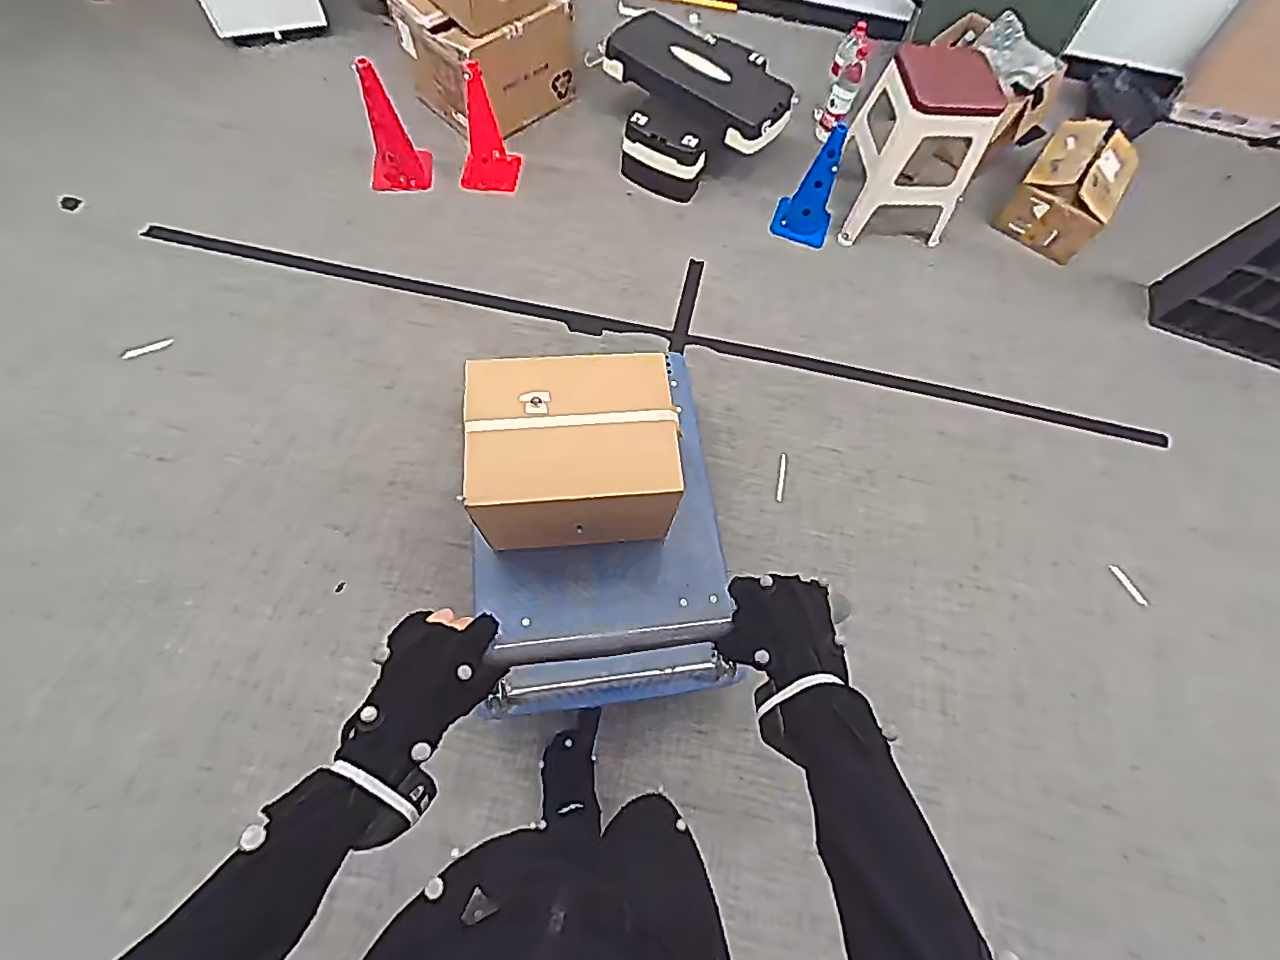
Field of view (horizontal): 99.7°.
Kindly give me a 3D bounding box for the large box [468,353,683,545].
[{"bbox_3d":[-0.138,-0.054,1.190,0.408,0.320,0.320,-4,68,-5],"label":"large box"}]
